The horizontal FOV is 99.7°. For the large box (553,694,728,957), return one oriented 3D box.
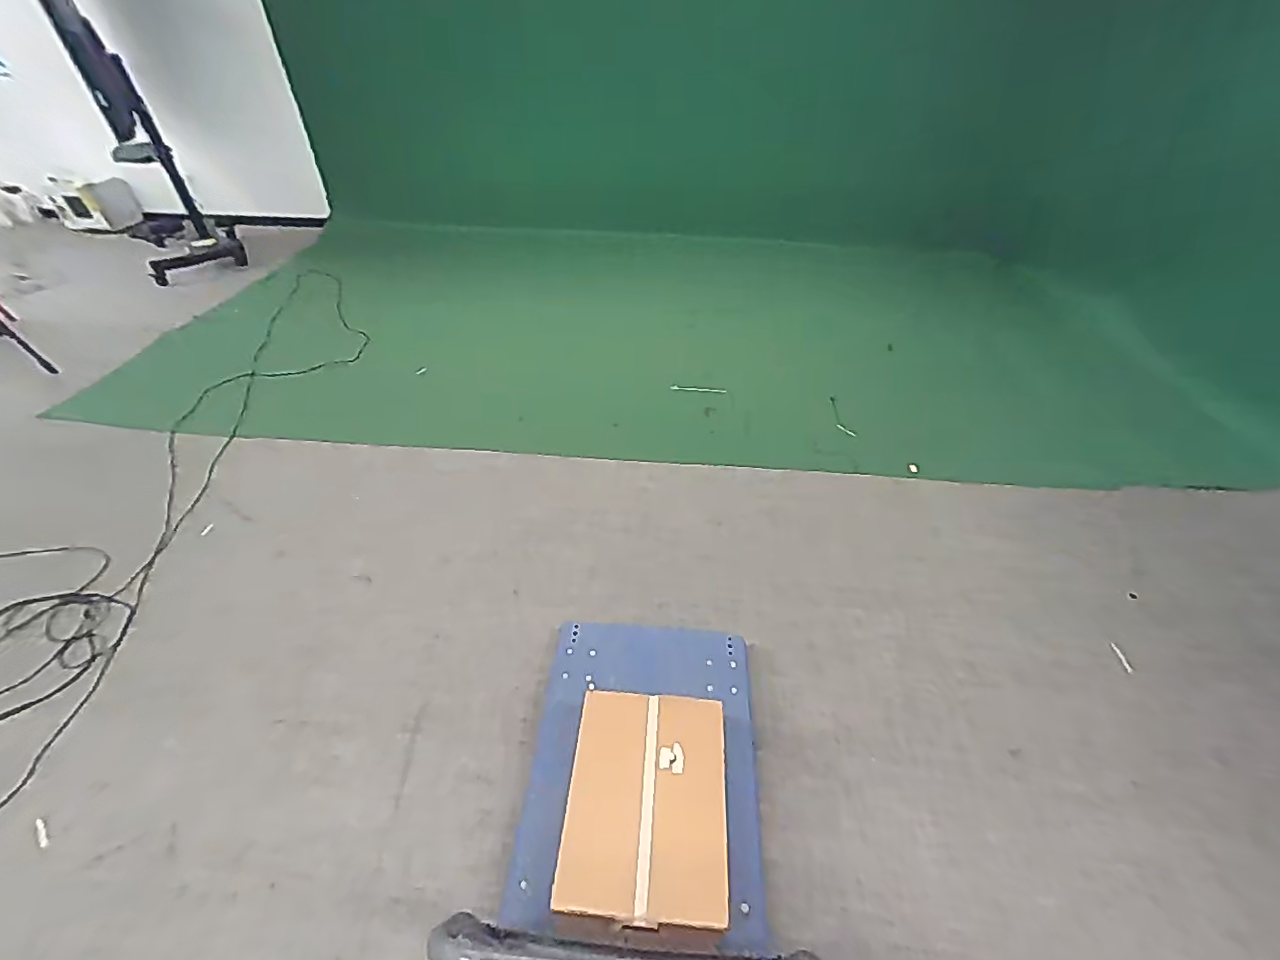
[{"bbox_3d":[0.011,0.741,1.176,0.320,0.320,0.408,5,41,3],"label":"large box"}]
